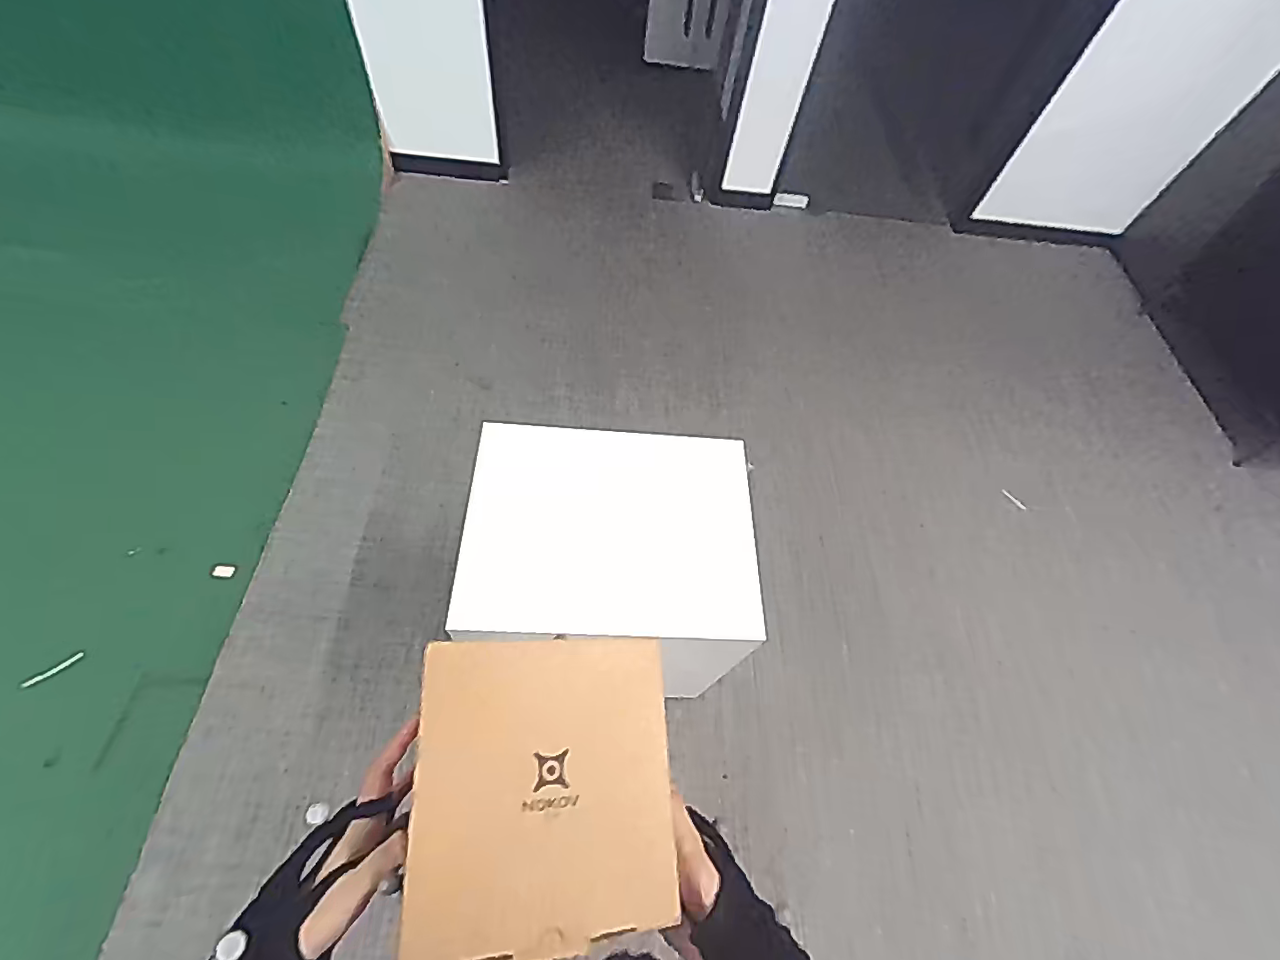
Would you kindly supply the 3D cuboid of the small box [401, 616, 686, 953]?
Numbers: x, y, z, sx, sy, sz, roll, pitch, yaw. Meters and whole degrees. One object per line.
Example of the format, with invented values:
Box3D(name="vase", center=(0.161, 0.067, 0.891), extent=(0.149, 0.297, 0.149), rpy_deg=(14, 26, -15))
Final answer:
Box3D(name="small box", center=(-0.080, 0.209, 0.408), extent=(0.168, 0.176, 0.179), rpy_deg=(5, 63, -19))
